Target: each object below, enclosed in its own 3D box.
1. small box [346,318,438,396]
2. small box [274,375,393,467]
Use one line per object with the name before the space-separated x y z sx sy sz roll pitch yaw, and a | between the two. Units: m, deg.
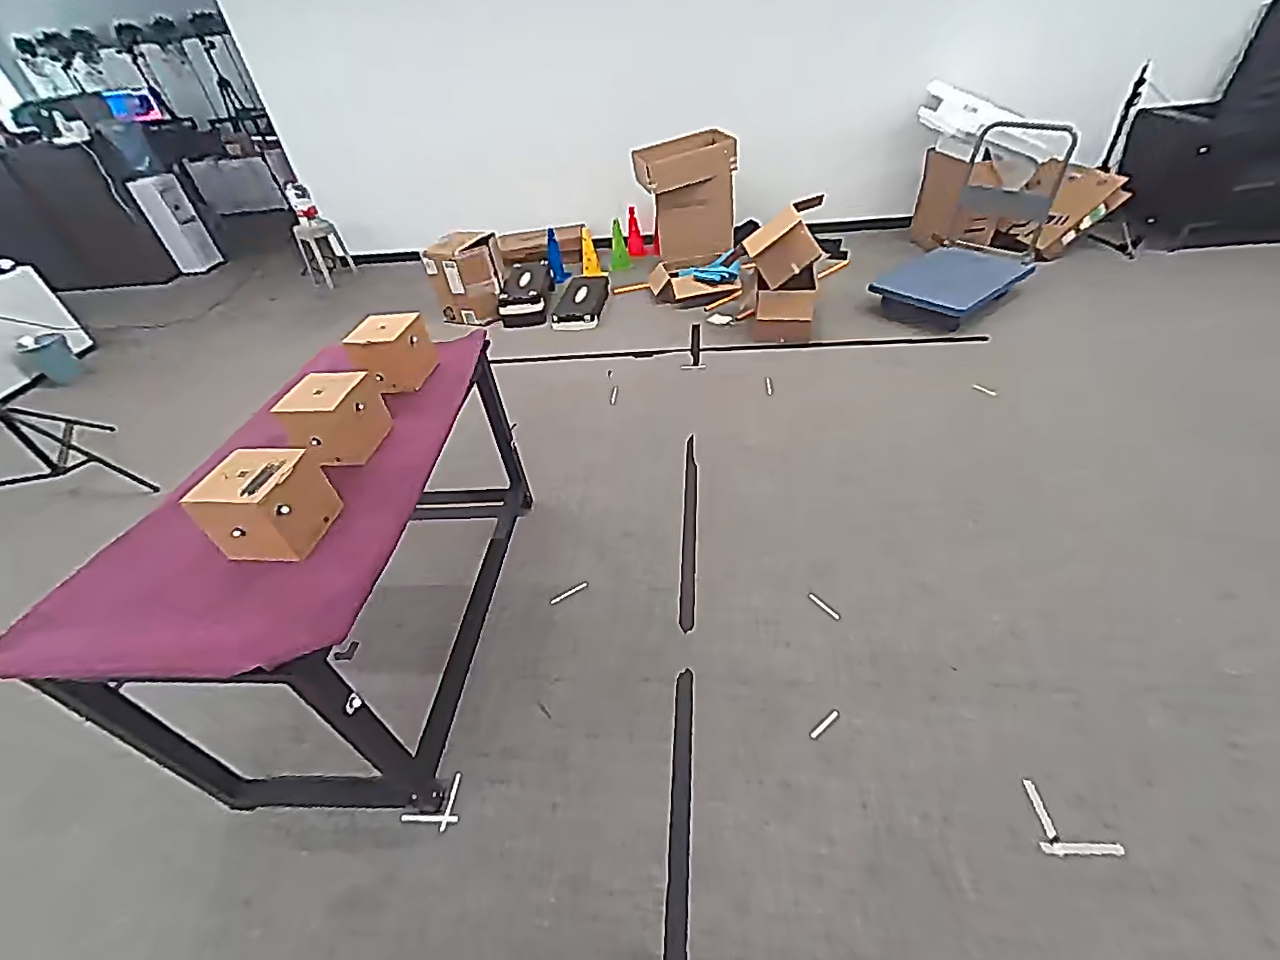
small box | -0.726 -0.365 1.609 0.168 0.176 0.179 -1 42 9
small box | -0.754 -0.145 1.357 0.168 0.176 0.179 0 41 8
